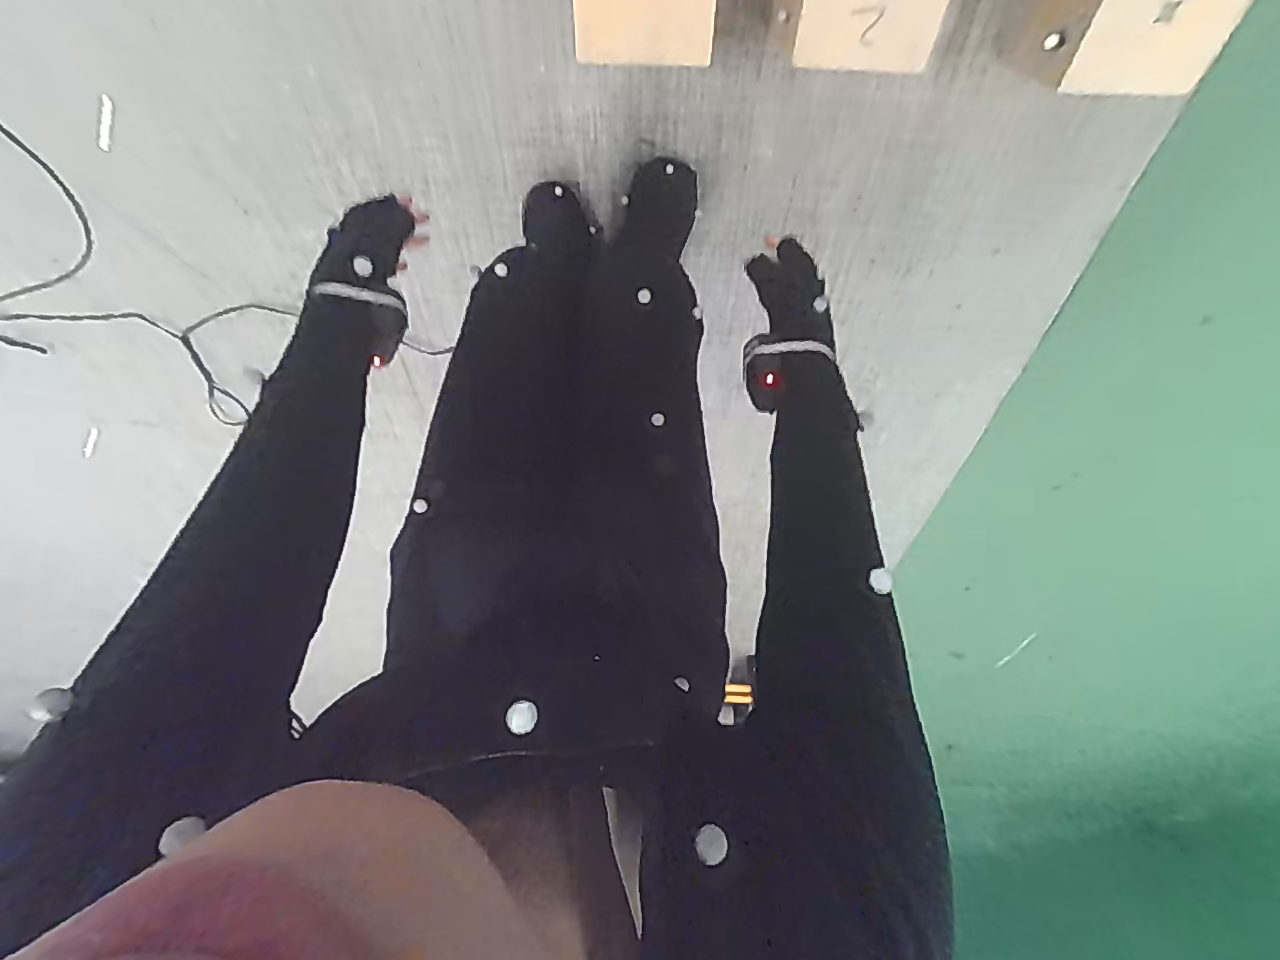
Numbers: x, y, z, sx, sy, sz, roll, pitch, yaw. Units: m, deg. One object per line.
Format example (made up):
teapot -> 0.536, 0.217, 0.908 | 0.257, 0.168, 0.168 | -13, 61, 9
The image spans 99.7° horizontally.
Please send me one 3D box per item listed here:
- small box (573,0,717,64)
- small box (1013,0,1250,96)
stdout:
small box -> 0.010, -0.622, 0.643 | 0.168, 0.176, 0.179 | 1, 137, 0
small box -> 0.599, -0.596, 0.658 | 0.168, 0.176, 0.179 | 1, 138, 0
